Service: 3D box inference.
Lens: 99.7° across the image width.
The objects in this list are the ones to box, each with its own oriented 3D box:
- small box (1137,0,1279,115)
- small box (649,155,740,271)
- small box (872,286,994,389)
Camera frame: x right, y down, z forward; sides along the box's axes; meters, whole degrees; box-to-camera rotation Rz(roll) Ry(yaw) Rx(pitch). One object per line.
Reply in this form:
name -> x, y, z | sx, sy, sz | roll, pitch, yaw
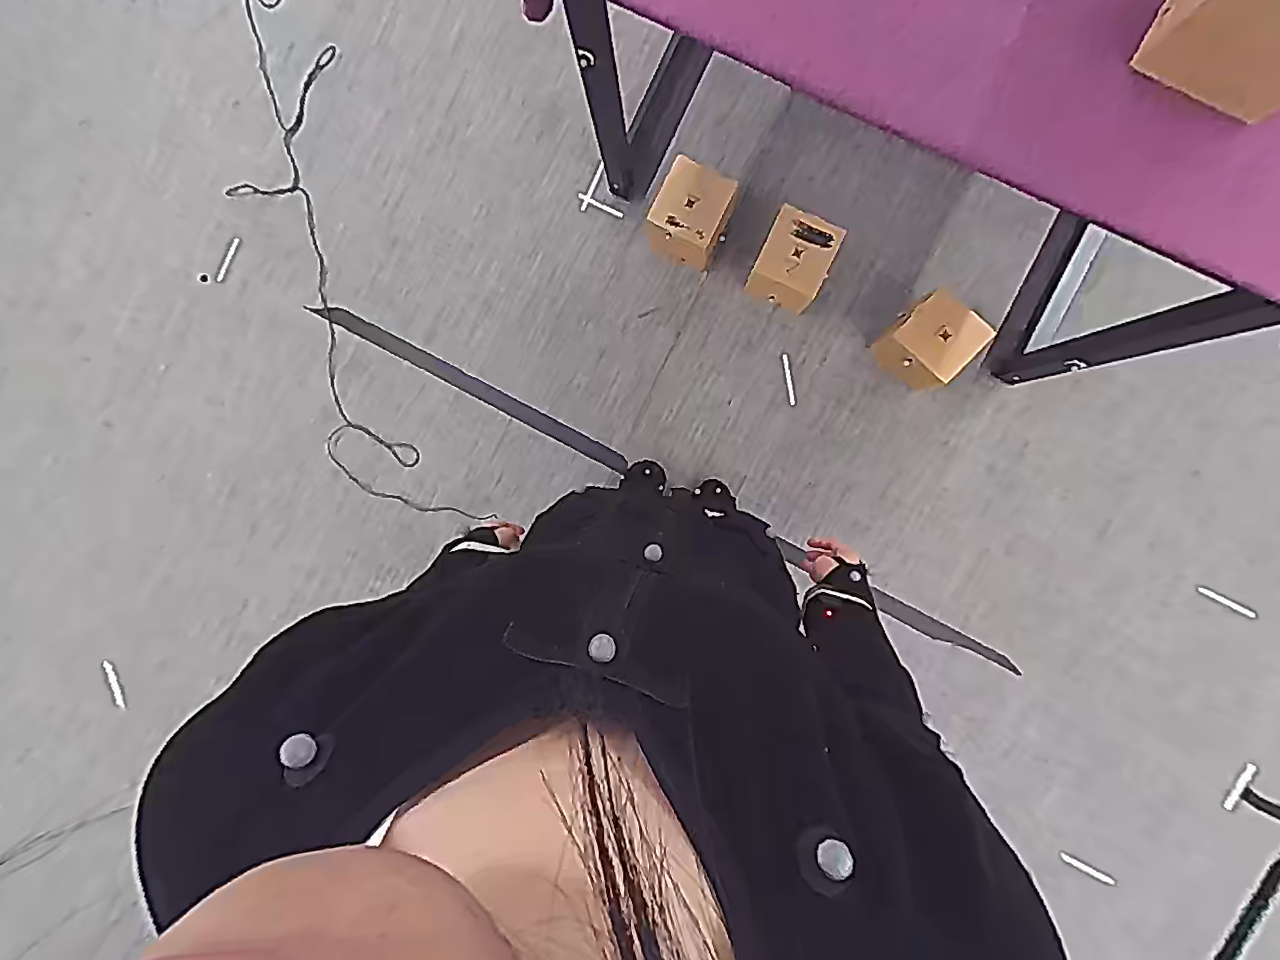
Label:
small box -> 0.743, -0.560, 0.609 | 0.179, 0.176, 0.168 | 29, 93, 3
small box -> 0.133, -0.670, 1.379 | 0.168, 0.176, 0.179 | 28, 92, 2
small box -> 0.722, -0.345, 1.353 | 0.179, 0.176, 0.168 | 44, 95, 3
